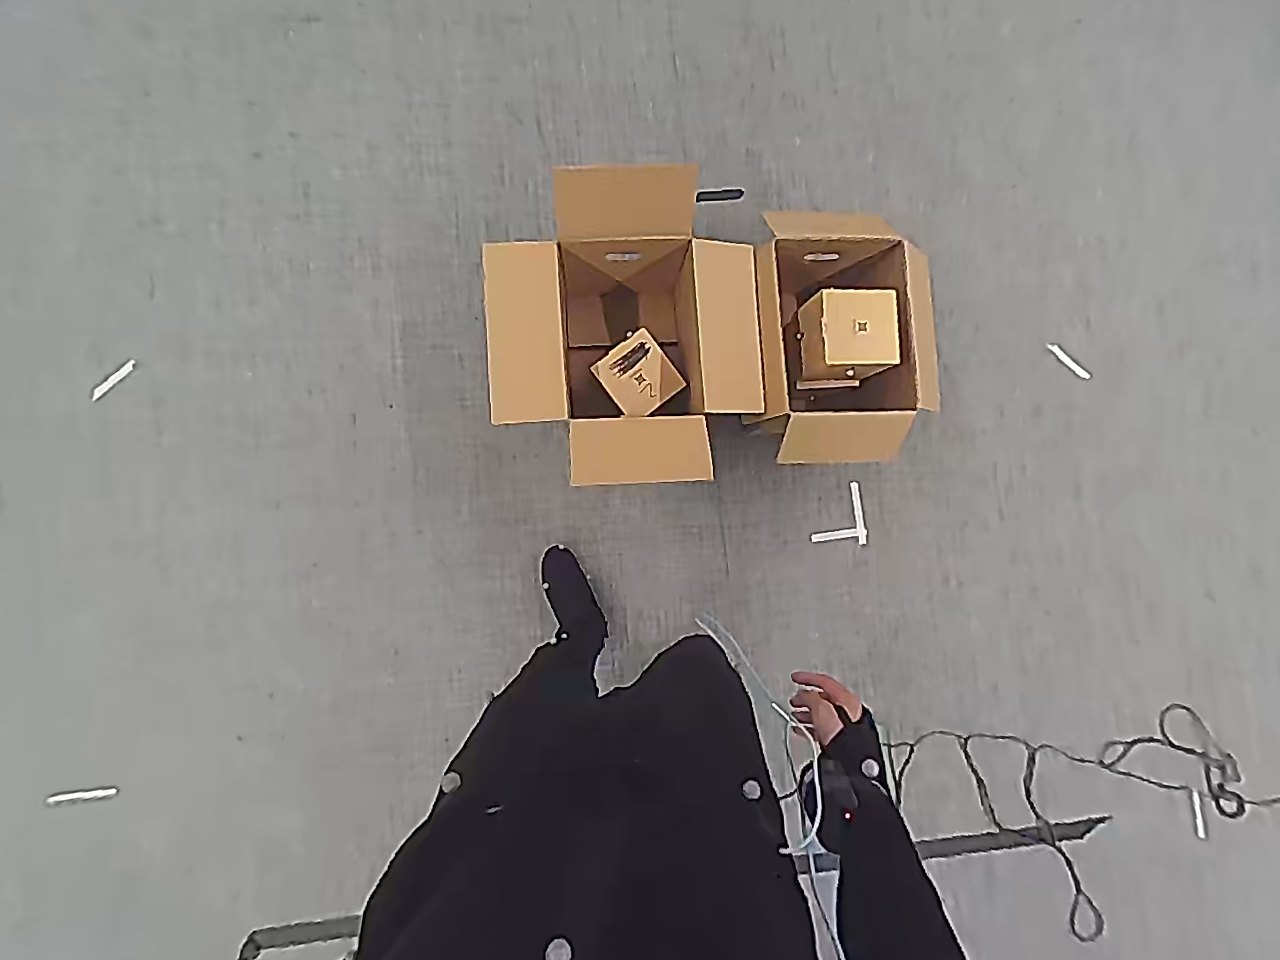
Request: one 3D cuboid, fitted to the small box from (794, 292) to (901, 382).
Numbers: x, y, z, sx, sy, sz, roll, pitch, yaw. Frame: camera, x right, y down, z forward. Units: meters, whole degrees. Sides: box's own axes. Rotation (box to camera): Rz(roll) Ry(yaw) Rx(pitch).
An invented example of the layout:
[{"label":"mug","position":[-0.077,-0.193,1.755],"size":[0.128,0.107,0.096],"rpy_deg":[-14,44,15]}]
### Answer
[{"label":"small box","position":[0.475,-0.325,1.254],"size":[0.179,0.176,0.168],"rpy_deg":[-2,89,-5]}]
